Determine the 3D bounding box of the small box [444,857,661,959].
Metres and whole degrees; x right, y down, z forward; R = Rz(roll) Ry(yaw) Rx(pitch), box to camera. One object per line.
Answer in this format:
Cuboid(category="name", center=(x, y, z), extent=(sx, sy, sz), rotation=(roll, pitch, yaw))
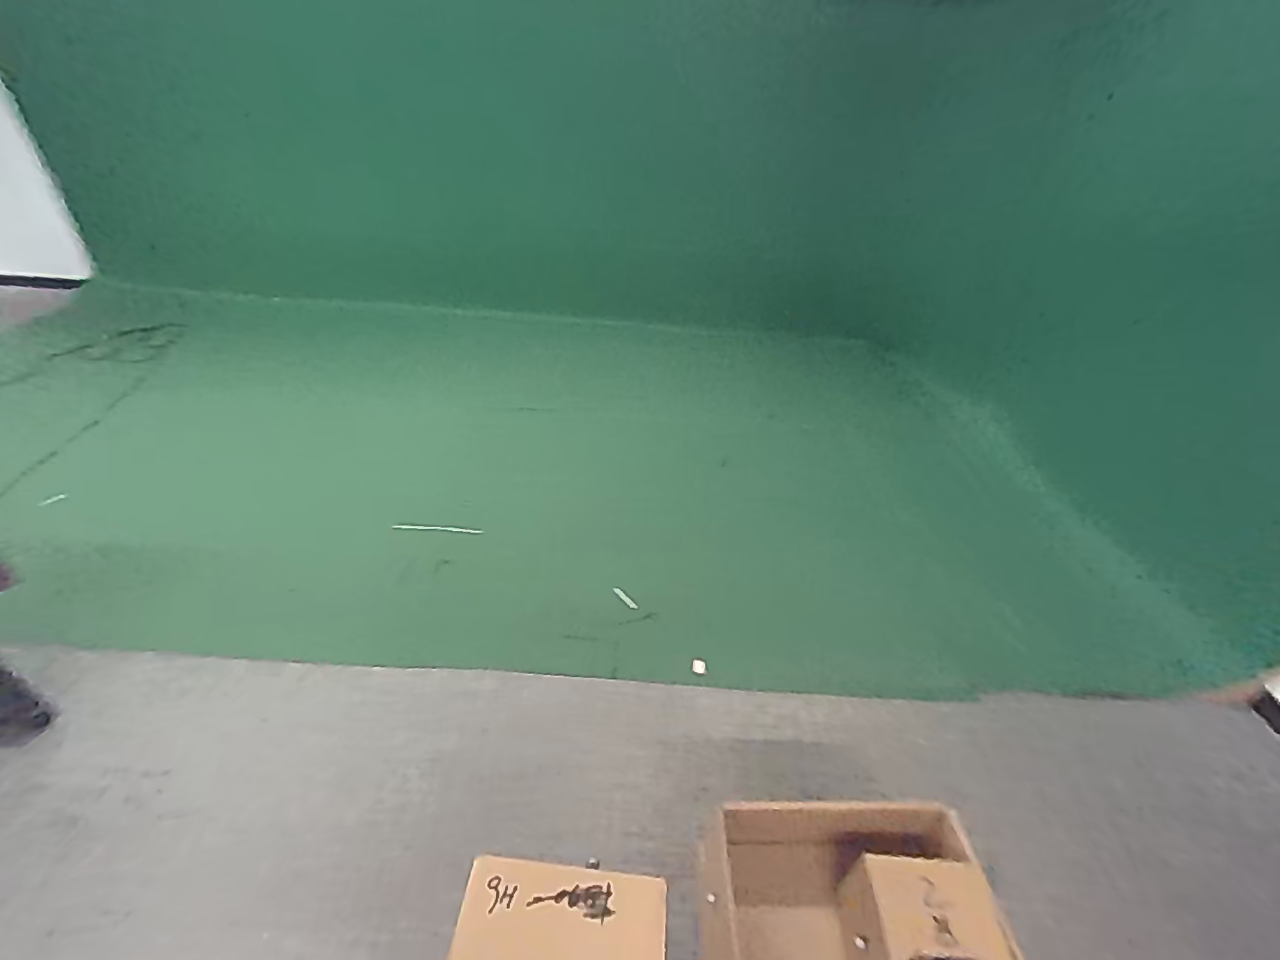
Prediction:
Cuboid(category="small box", center=(-0.078, 0.445, 0.445), extent=(0.168, 0.176, 0.179), rotation=(8, 40, -2))
